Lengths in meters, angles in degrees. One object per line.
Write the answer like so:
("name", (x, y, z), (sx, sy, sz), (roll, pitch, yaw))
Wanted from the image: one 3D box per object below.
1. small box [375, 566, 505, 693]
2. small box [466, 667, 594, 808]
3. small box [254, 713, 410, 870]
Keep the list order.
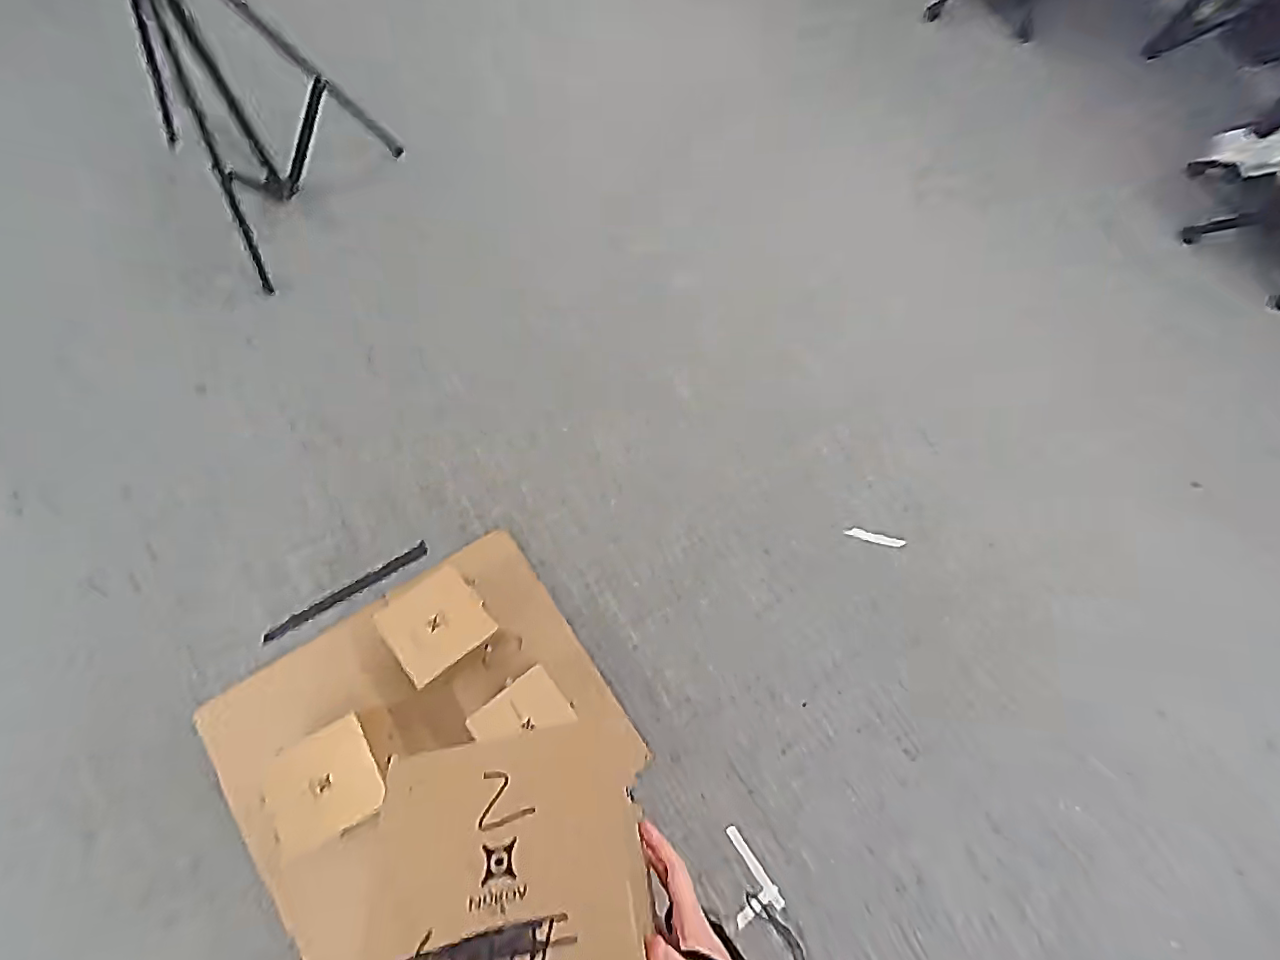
("small box", (-0.389, 0.302, 1.088), (0.179, 0.176, 0.168), (-37, 78, -18))
("small box", (-0.206, 0.482, 1.044), (0.168, 0.176, 0.179), (-36, 78, -18))
("small box", (-0.538, 0.543, 0.976), (0.179, 0.176, 0.168), (-29, 76, -15))
